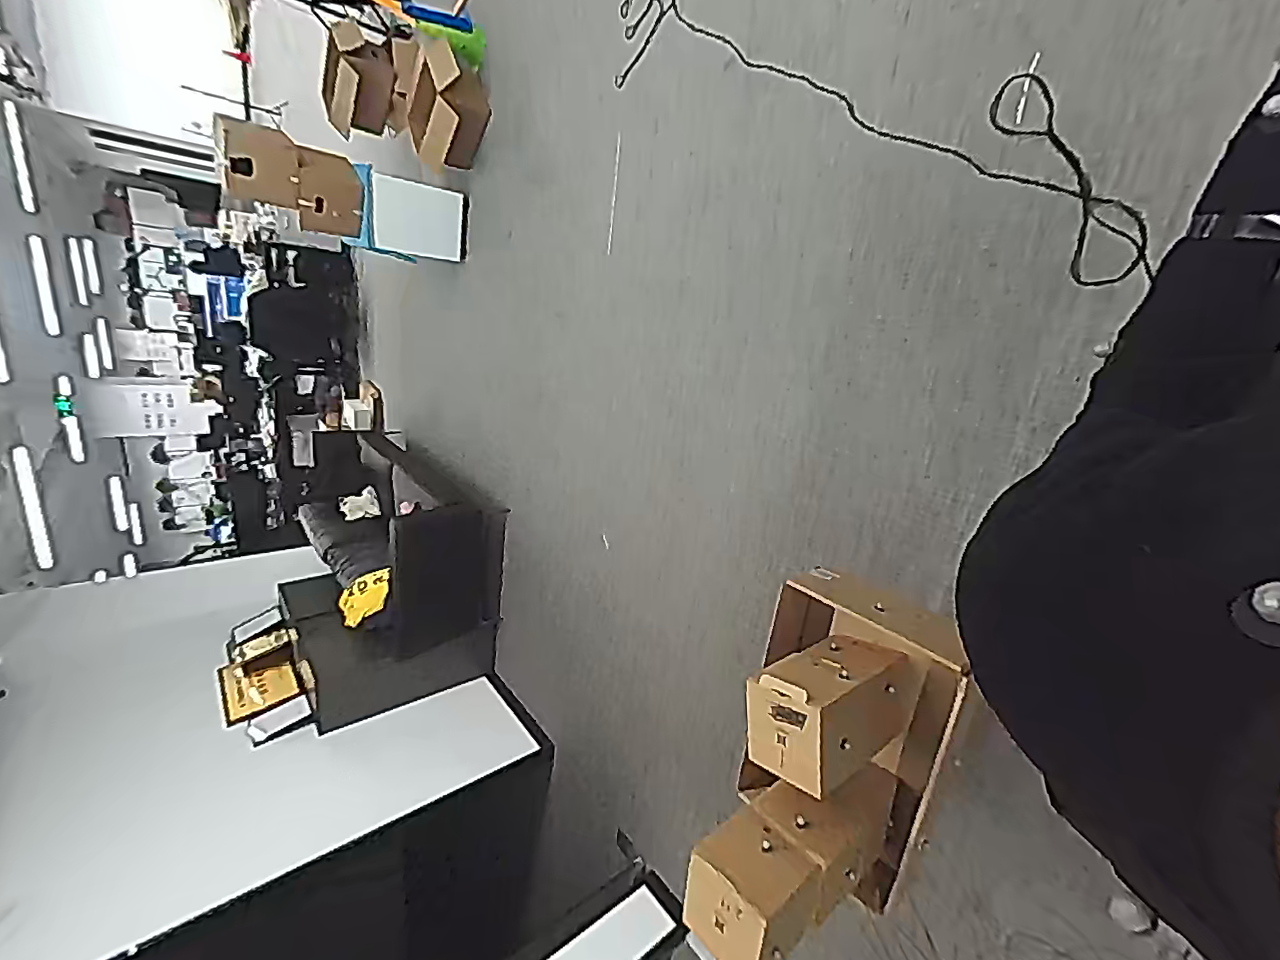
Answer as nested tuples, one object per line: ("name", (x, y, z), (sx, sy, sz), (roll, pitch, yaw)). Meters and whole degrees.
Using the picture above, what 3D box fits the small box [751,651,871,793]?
("small box", (0.337, 0.460, 1.064), (0.168, 0.176, 0.179), (6, 101, 50))

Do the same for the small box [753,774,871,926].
("small box", (0.339, 0.729, 1.101), (0.179, 0.176, 0.168), (18, 109, 46))

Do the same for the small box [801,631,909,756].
("small box", (0.463, 0.447, 1.169), (0.168, 0.176, 0.179), (6, 101, 50))

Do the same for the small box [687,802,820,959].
("small box", (0.210, 0.753, 1.001), (0.168, 0.176, 0.179), (20, 110, 45))
